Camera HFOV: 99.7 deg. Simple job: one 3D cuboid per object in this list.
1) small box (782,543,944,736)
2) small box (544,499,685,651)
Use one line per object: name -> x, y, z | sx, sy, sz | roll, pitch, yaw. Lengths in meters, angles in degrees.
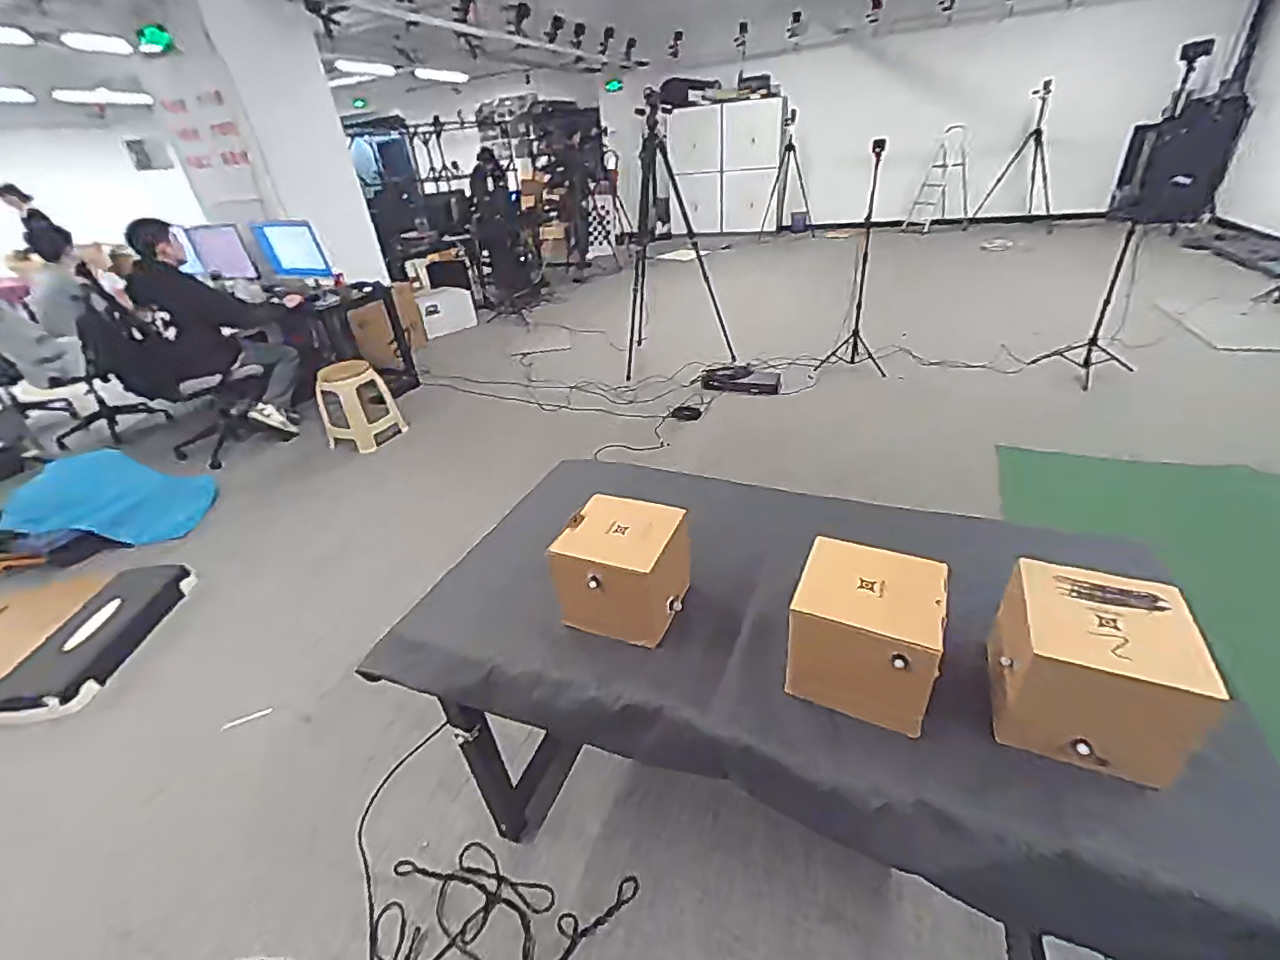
small box -> 0.302, 0.215, 0.745 | 0.179, 0.176, 0.168 | 12, 34, 25
small box -> -0.033, 0.155, 0.898 | 0.179, 0.176, 0.168 | 10, 35, 22
